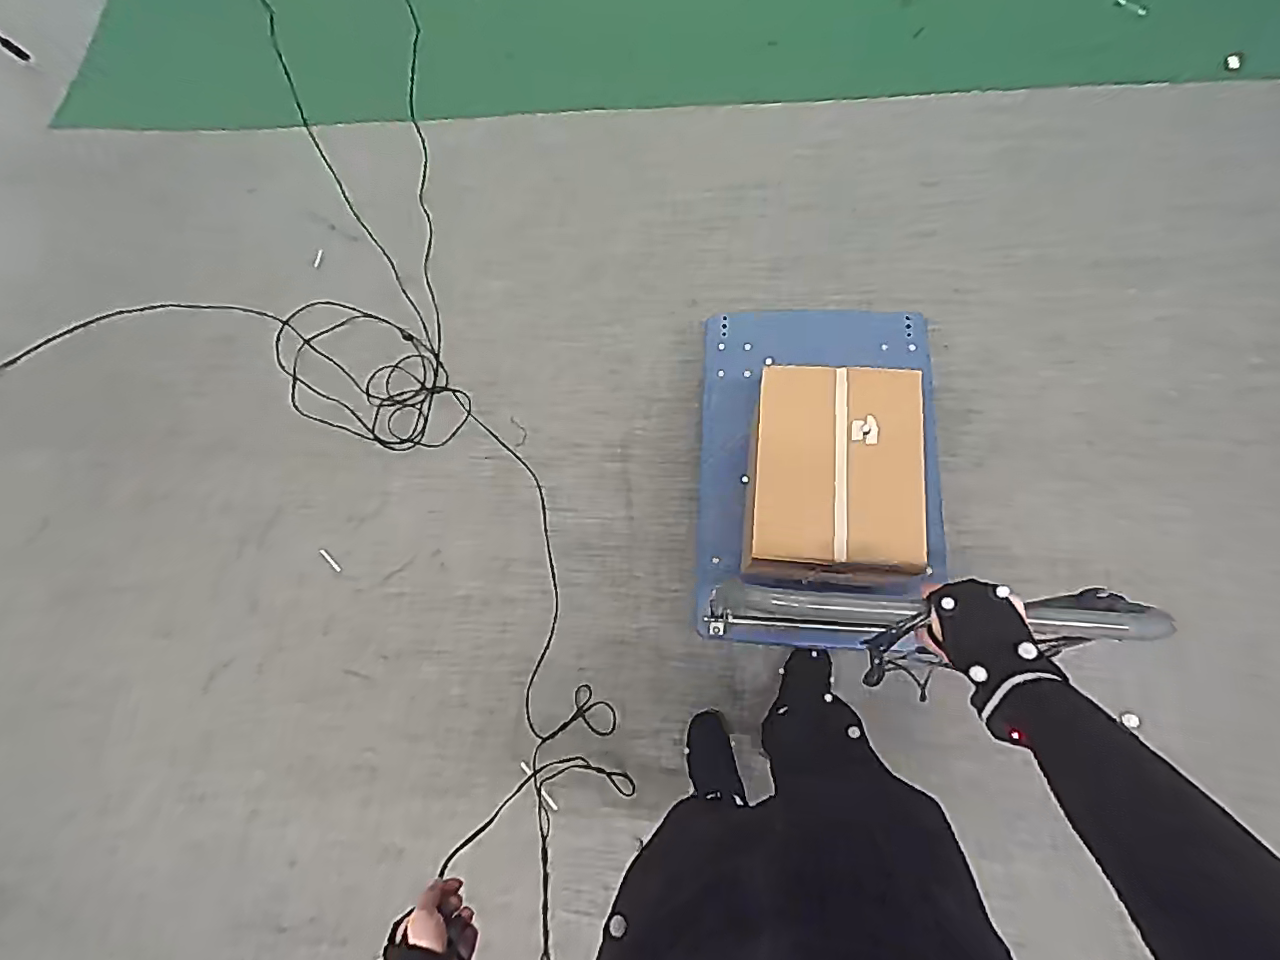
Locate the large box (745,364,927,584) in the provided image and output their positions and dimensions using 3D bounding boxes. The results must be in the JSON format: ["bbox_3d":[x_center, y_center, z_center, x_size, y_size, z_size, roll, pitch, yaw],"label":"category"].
[{"bbox_3d":[0.398,0.003,1.178,0.320,0.320,0.408,5,74,7],"label":"large box"}]
